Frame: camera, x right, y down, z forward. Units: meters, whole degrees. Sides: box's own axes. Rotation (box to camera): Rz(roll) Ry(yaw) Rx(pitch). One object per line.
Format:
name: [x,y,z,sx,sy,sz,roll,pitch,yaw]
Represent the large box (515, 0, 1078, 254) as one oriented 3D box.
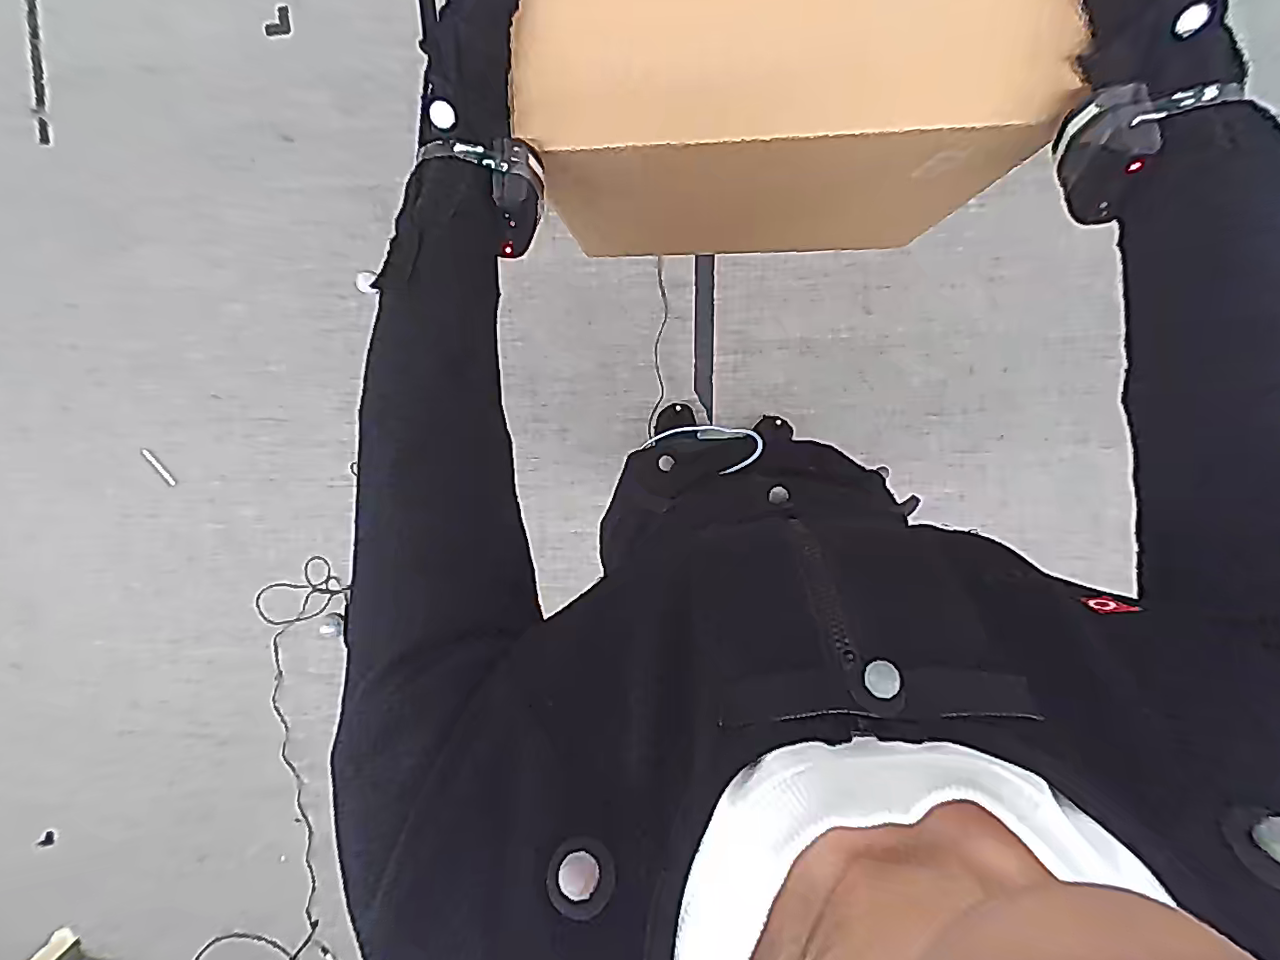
large box: [0.111,-0.429,0.524,0.408,0.320,0.320,-1,99,4]
